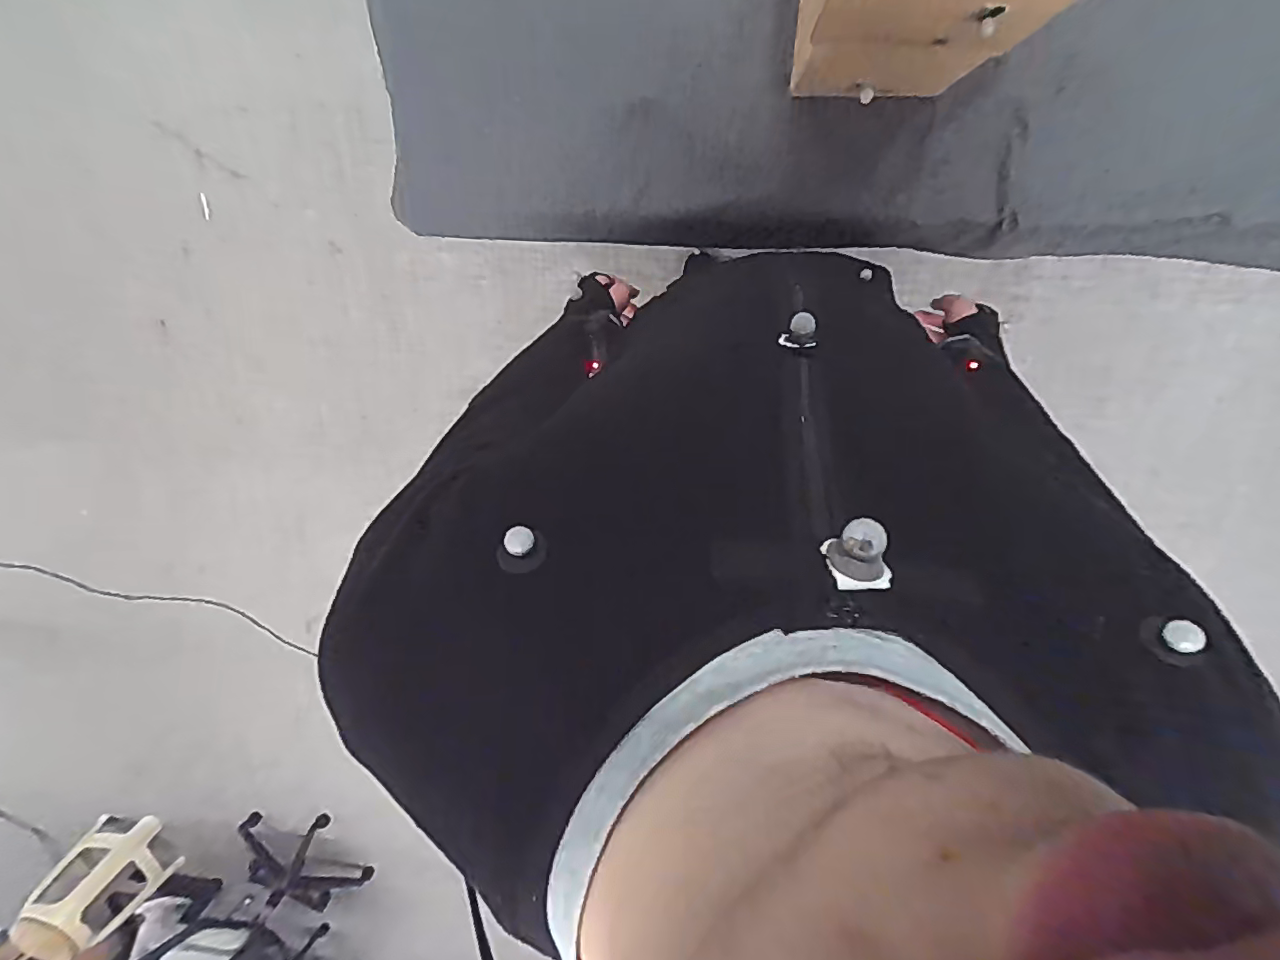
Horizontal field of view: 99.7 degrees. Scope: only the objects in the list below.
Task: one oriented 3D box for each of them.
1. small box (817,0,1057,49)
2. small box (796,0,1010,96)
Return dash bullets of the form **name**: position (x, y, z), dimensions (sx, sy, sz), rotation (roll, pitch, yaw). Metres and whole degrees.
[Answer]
- **small box**: position (0.227, -0.424, 0.364), dimensions (0.168, 0.176, 0.179), rotation (7, 113, 4)
- **small box**: position (0.249, -0.490, 0.510), dimensions (0.168, 0.176, 0.179), rotation (5, 114, 6)
